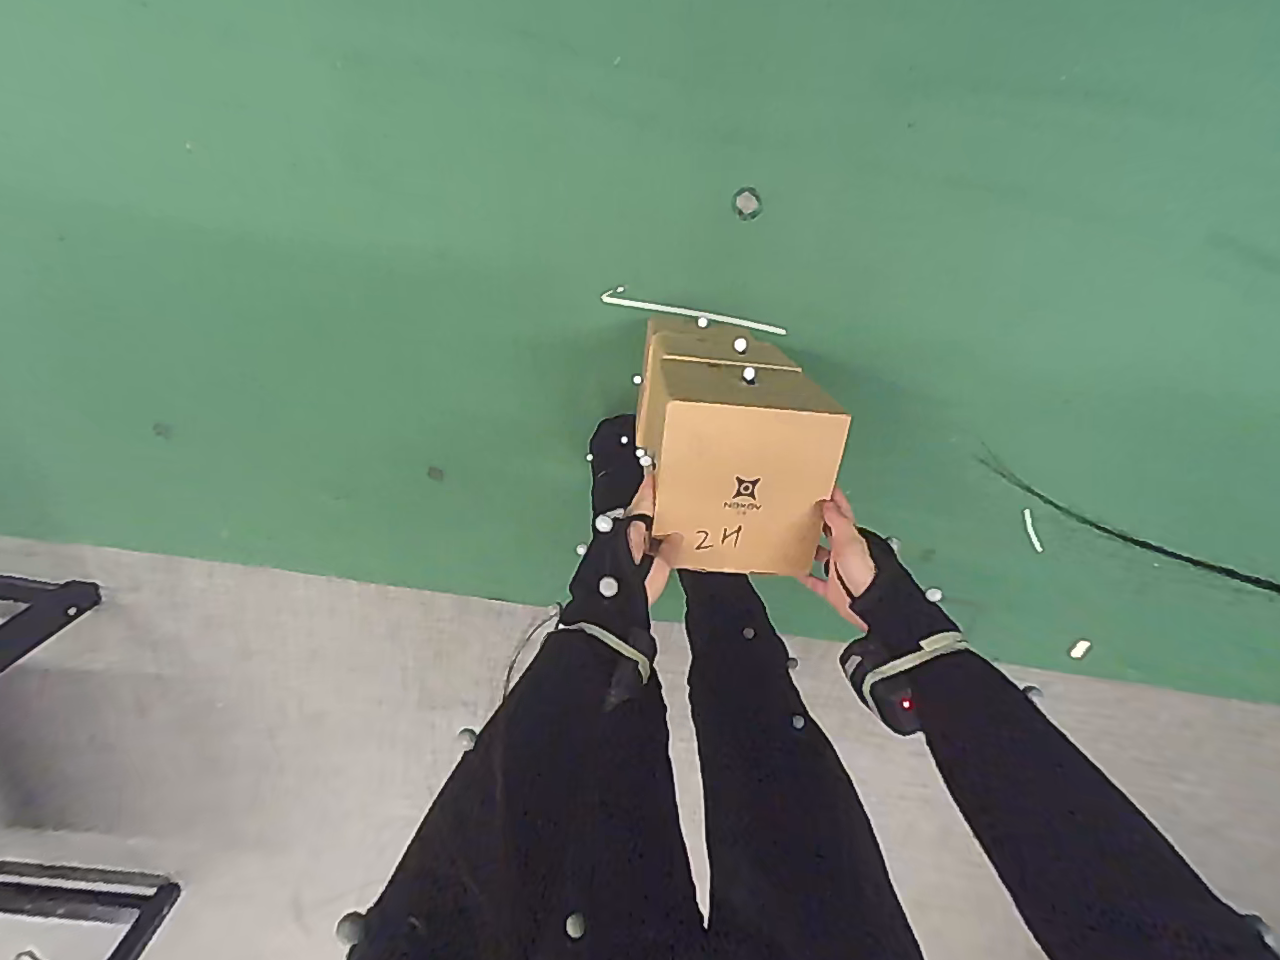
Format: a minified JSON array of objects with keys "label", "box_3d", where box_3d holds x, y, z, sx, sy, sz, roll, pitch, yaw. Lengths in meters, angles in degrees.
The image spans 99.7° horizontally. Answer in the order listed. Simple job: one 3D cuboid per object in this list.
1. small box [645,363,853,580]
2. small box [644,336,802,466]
[{"label":"small box","box_3d":[0.096,-0.018,0.575,0.168,0.176,0.179,6,115,-3]},{"label":"small box","box_3d":[0.096,-0.088,0.725,0.168,0.176,0.179,6,115,-3]}]
